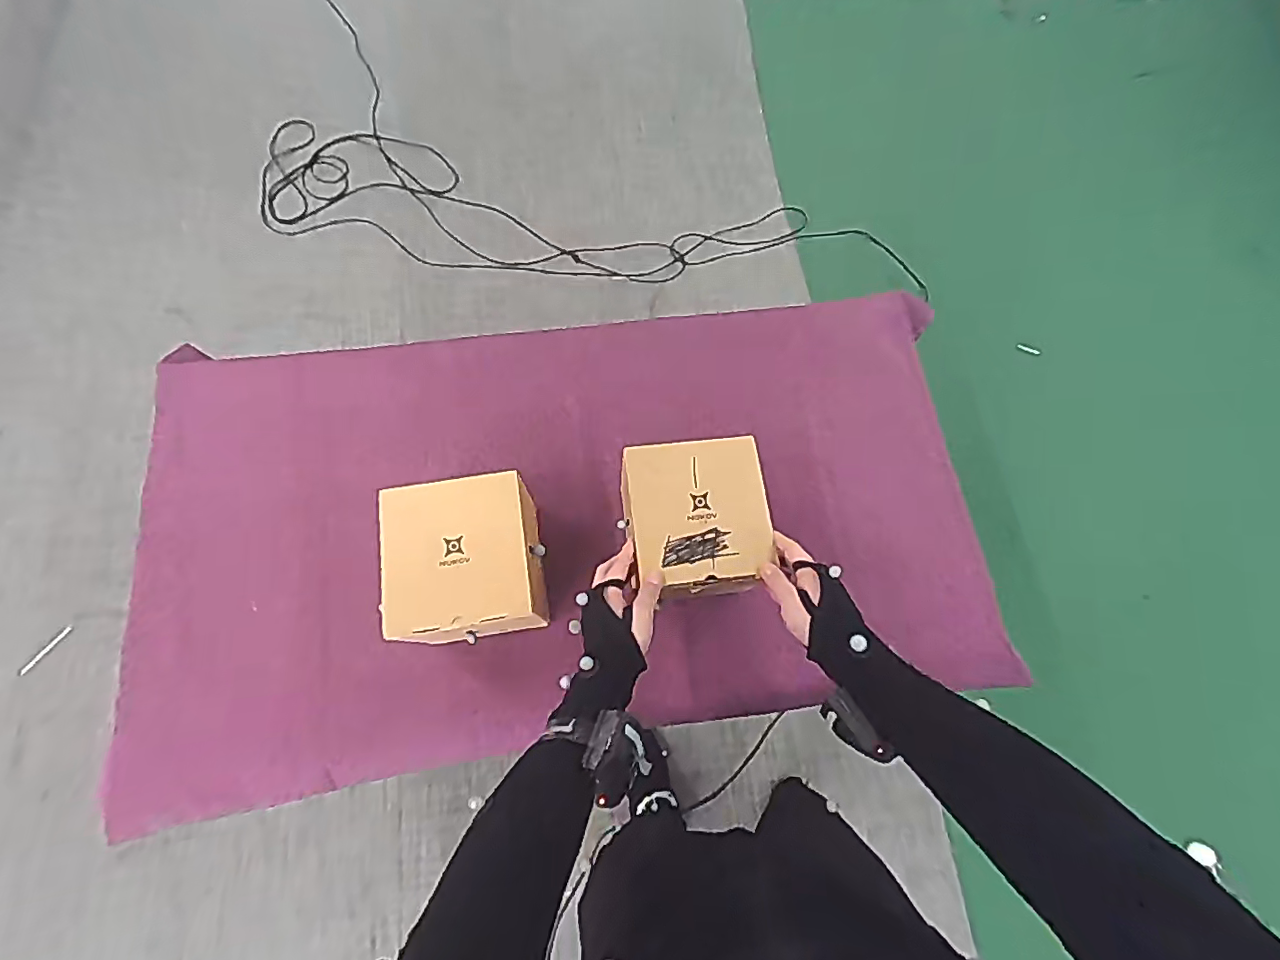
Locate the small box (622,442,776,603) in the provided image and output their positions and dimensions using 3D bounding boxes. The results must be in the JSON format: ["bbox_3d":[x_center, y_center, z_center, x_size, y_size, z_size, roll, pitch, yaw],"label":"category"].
[{"bbox_3d":[0.065,0.065,0.717,0.168,0.176,0.179,-5,71,-5],"label":"small box"}]

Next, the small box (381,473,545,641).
[{"bbox_3d":[-0.220,0.107,0.701,0.168,0.176,0.179,-8,74,-6],"label":"small box"}]
